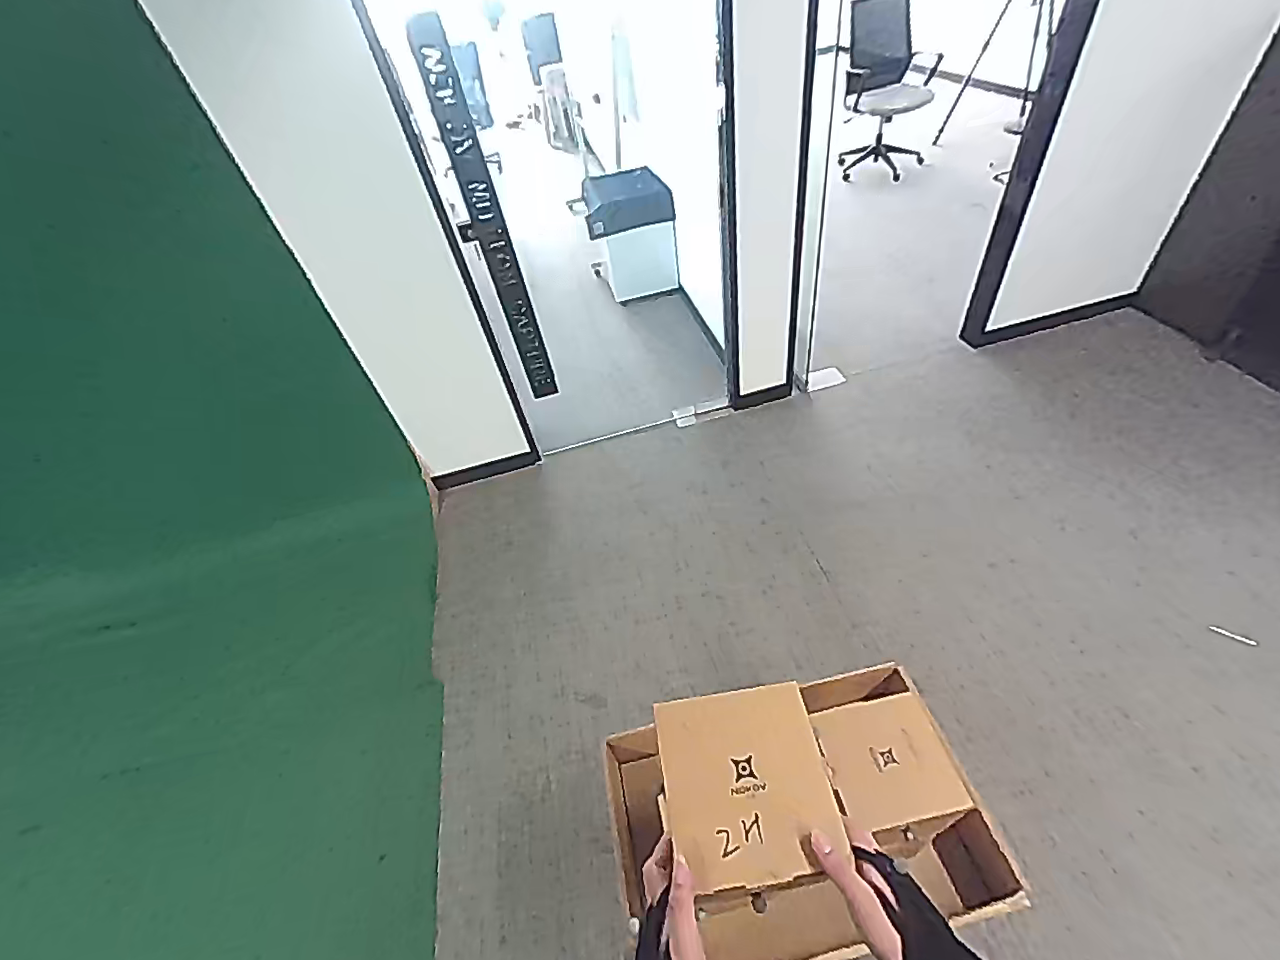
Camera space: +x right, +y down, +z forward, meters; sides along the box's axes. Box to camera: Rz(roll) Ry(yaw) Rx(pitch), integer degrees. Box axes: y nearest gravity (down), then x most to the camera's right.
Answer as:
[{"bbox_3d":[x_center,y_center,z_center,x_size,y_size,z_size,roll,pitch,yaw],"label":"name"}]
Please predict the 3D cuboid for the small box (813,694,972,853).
[{"bbox_3d":[0.367,0.464,0.846,0.179,0.176,0.168,-12,46,-2],"label":"small box"}]

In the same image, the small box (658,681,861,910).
[{"bbox_3d":[0.113,0.348,0.595,0.168,0.176,0.179,-8,50,-2],"label":"small box"}]
